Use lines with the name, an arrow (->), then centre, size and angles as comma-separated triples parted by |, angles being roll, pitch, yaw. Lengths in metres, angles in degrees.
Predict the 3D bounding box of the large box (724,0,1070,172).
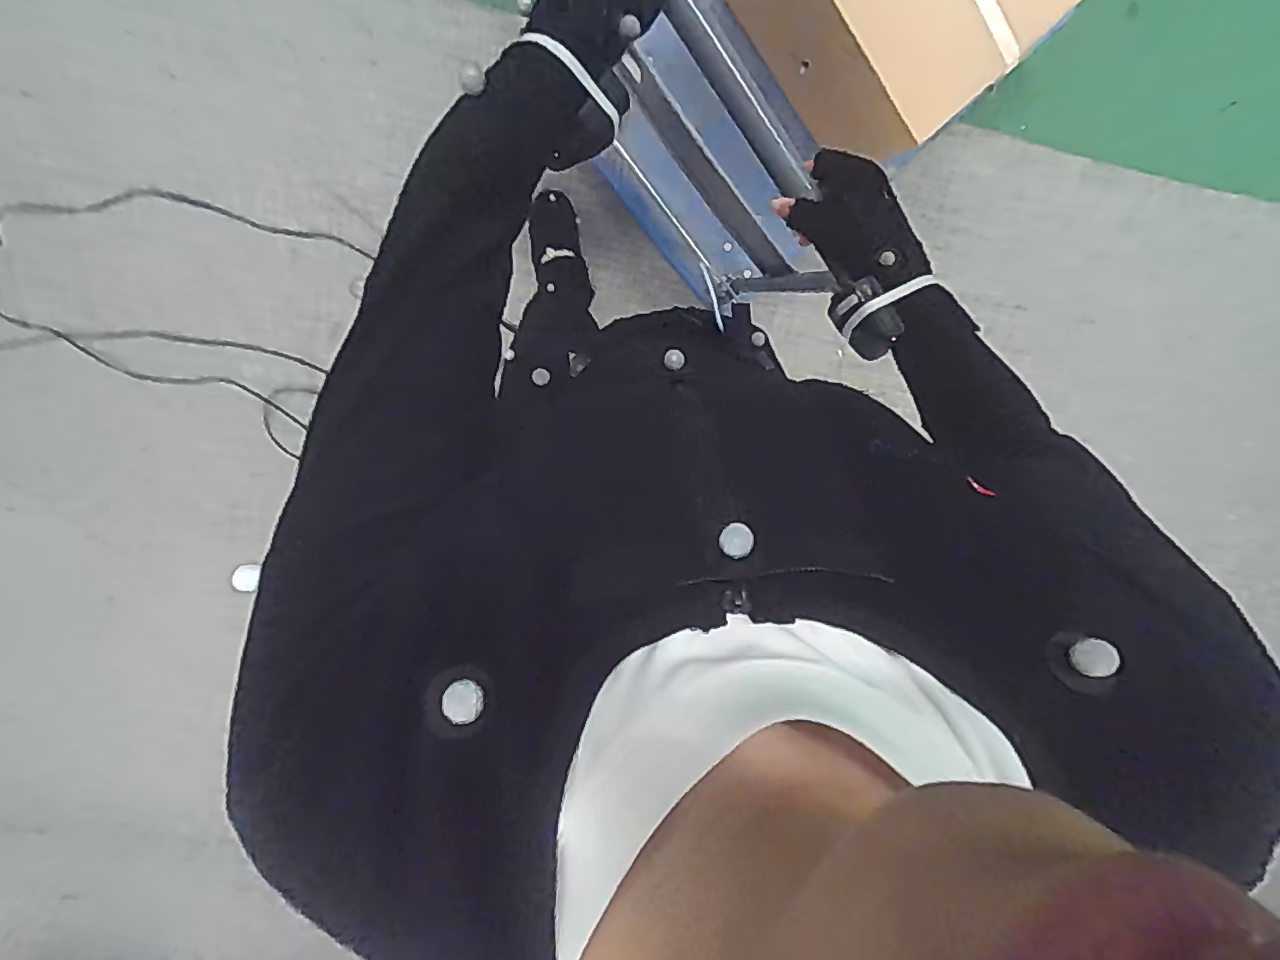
large box -> 0.394, -0.799, 0.878 | 0.320, 0.320, 0.408 | -41, 107, 11
